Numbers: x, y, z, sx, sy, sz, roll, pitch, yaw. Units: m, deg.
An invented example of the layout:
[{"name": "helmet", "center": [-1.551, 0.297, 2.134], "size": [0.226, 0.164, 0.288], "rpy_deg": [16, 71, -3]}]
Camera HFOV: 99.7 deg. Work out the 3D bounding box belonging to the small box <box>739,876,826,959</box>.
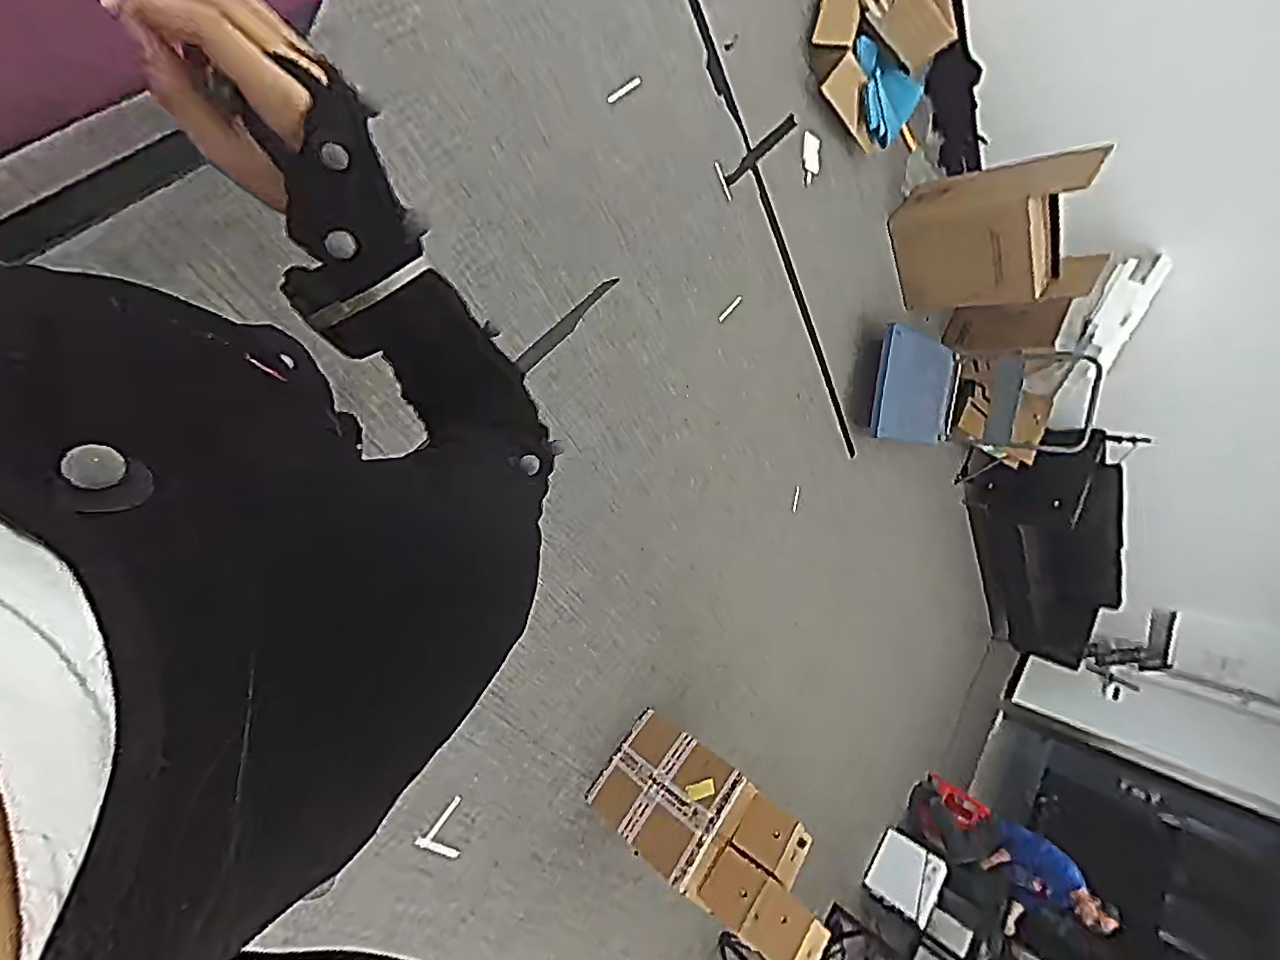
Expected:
[{"name": "small box", "center": [0.421, 1.327, 1.606], "size": [0.168, 0.176, 0.179], "rpy_deg": [-48, 126, -23]}]
